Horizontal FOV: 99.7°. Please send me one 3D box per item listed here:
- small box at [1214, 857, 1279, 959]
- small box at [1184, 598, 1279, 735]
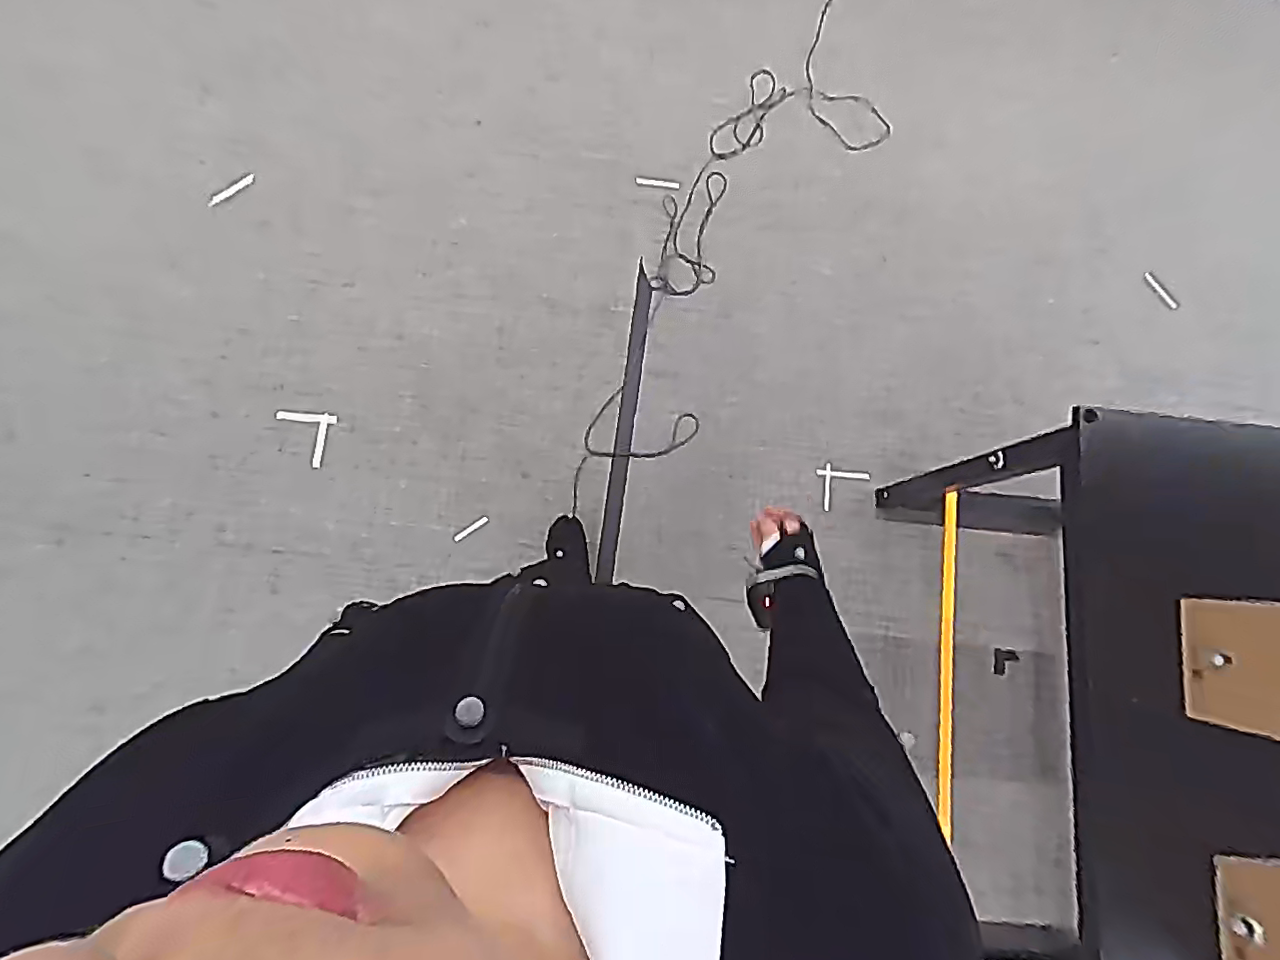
[{"bbox_3d":[0.860,0.581,0.643,0.179,0.176,0.168,5,78,0],"label":"small box"},{"bbox_3d":[0.873,0.247,0.700,0.179,0.176,0.168,8,79,0],"label":"small box"}]
